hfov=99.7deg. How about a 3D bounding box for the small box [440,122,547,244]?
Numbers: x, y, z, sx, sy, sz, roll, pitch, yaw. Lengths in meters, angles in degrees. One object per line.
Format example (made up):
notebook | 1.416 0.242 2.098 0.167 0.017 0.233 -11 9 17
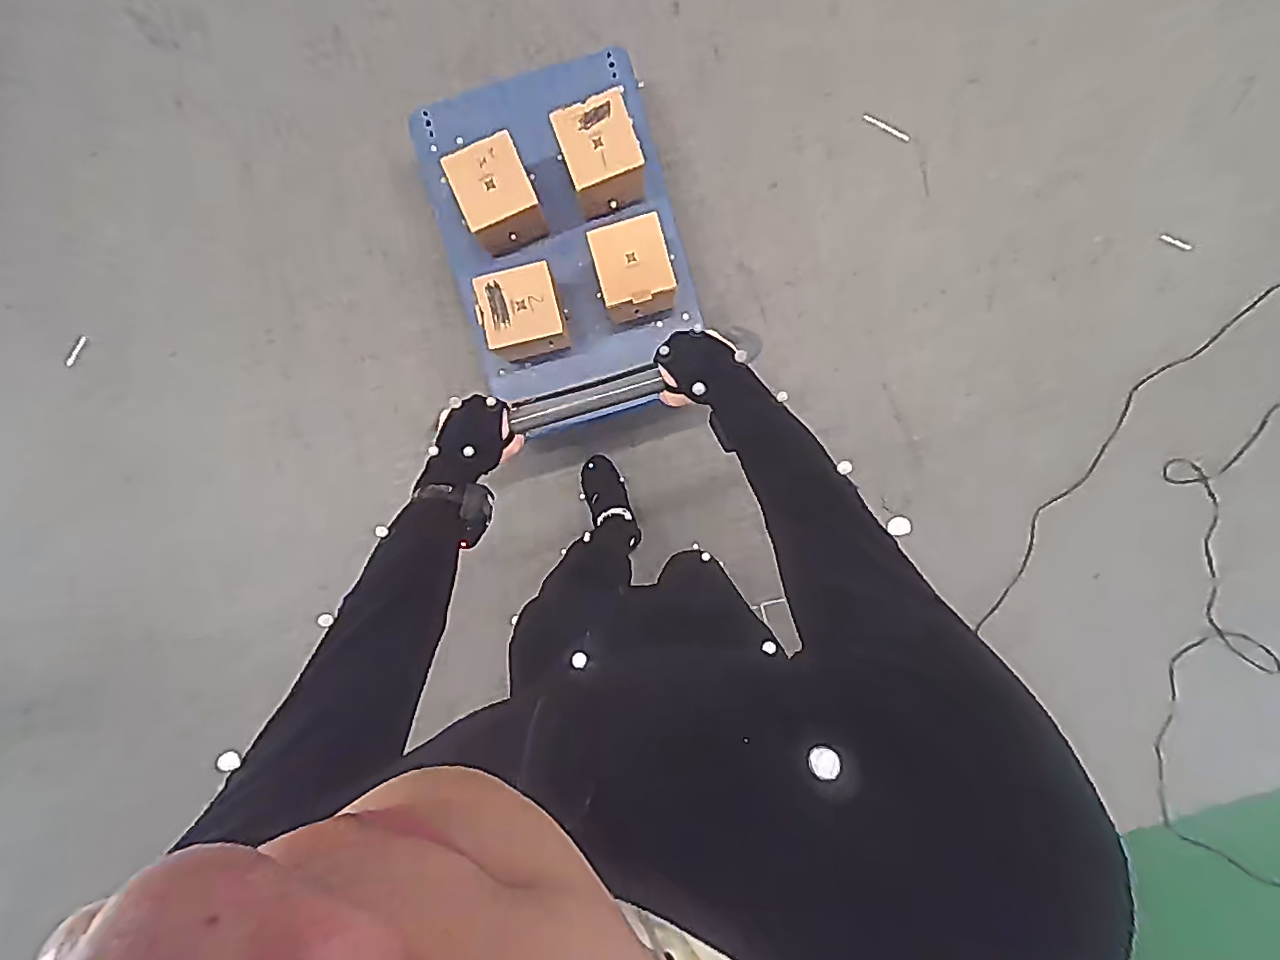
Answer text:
small box | -0.332 -0.678 1.265 0.168 0.176 0.179 -23 94 1

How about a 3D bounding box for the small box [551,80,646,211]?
small box | -0.092 -0.767 1.257 0.168 0.176 0.179 -20 95 2

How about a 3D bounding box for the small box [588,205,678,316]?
small box | -0.017 -0.510 1.279 0.168 0.176 0.179 -16 95 2
